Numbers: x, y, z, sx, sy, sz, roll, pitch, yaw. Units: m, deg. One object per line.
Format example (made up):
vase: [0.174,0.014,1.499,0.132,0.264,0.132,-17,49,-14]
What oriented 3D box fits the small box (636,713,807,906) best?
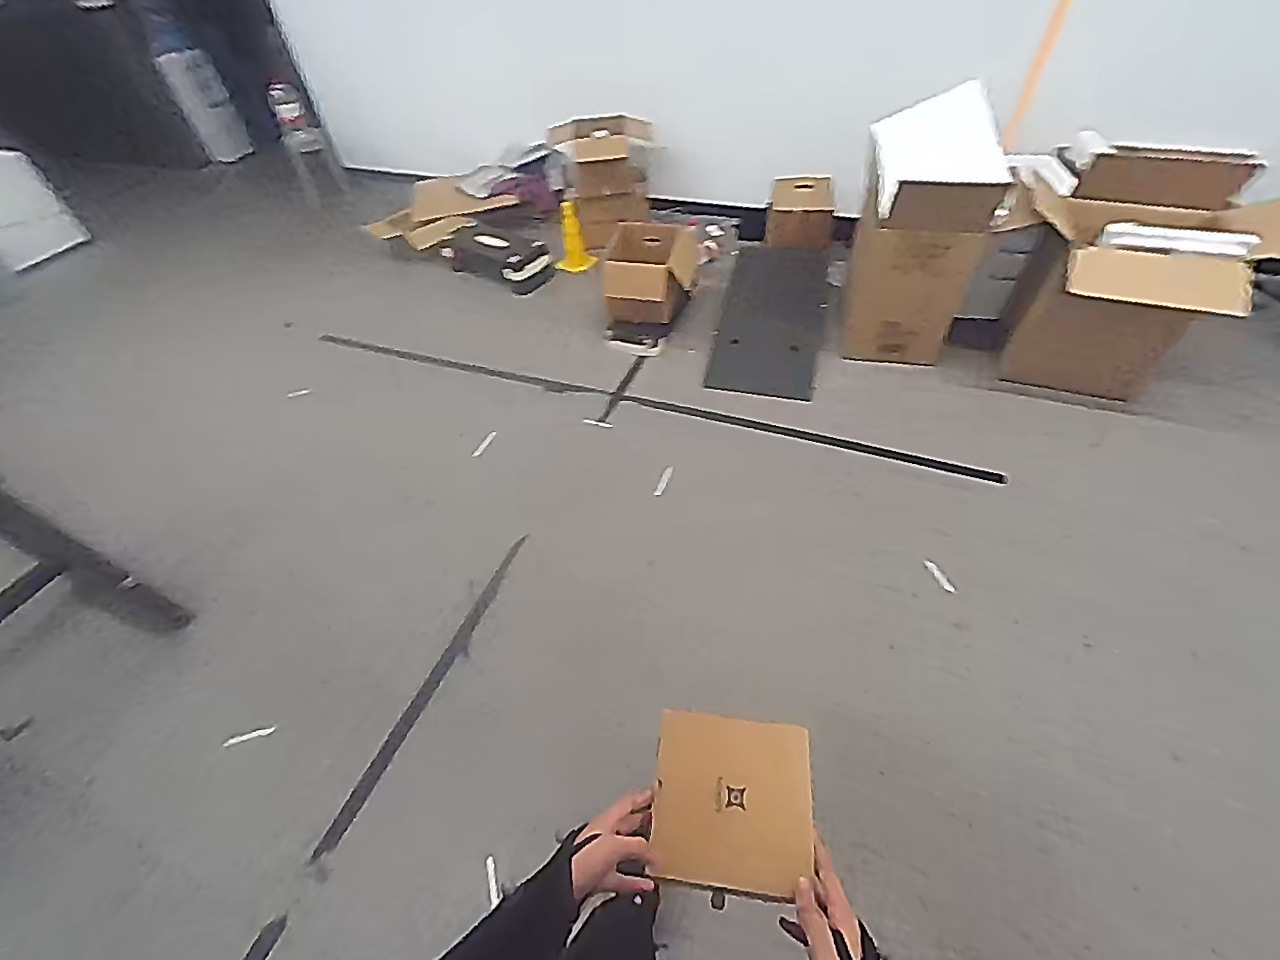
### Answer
small box: [0.094,0.399,0.657,0.179,0.176,0.168,4,53,6]
